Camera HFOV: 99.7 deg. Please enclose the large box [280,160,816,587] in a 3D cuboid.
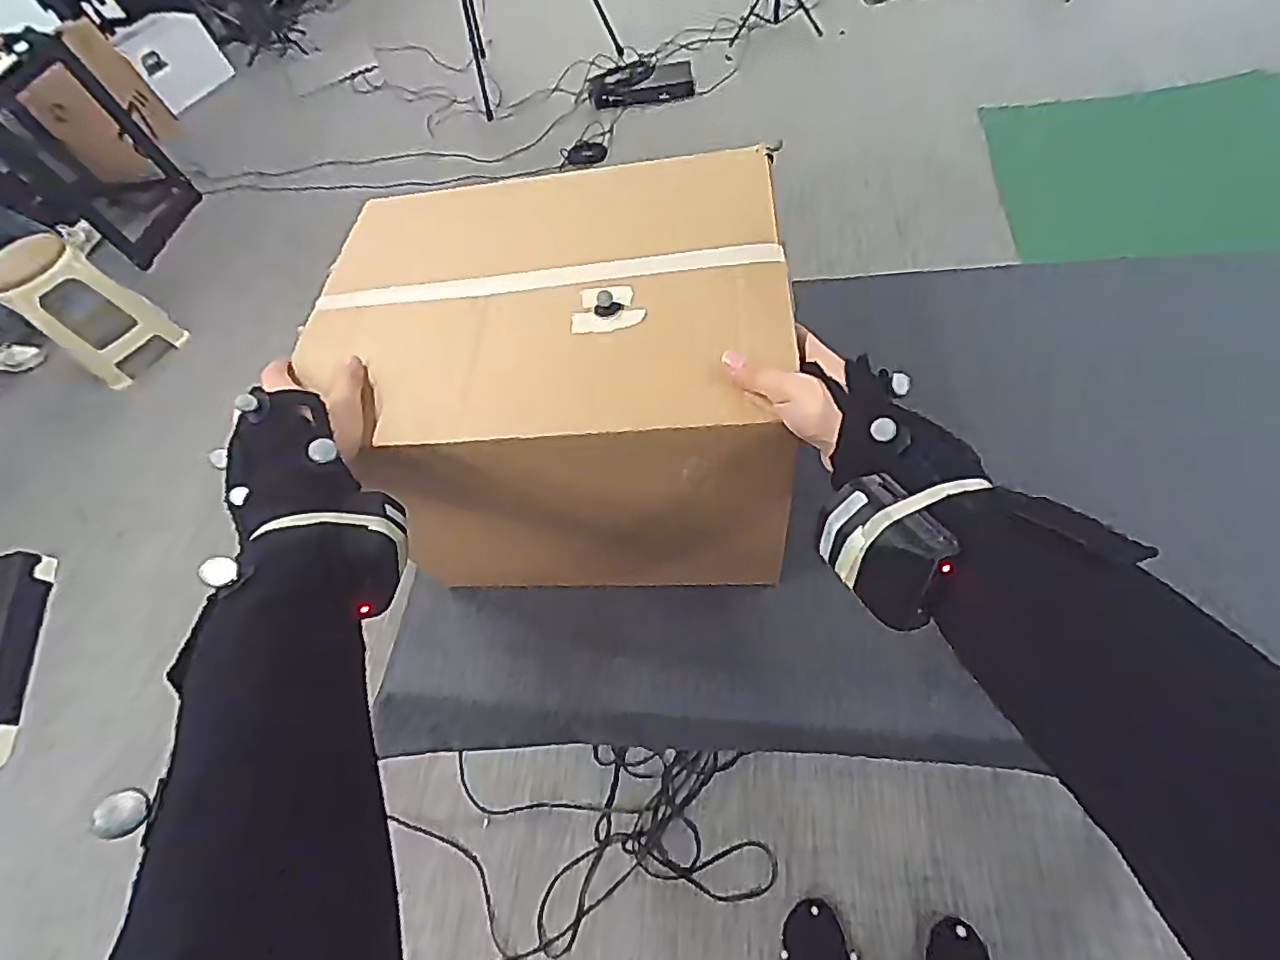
[{"bbox_3d":[-0.055,-0.085,0.584,0.408,0.320,0.320,-2,60,8],"label":"large box"}]
